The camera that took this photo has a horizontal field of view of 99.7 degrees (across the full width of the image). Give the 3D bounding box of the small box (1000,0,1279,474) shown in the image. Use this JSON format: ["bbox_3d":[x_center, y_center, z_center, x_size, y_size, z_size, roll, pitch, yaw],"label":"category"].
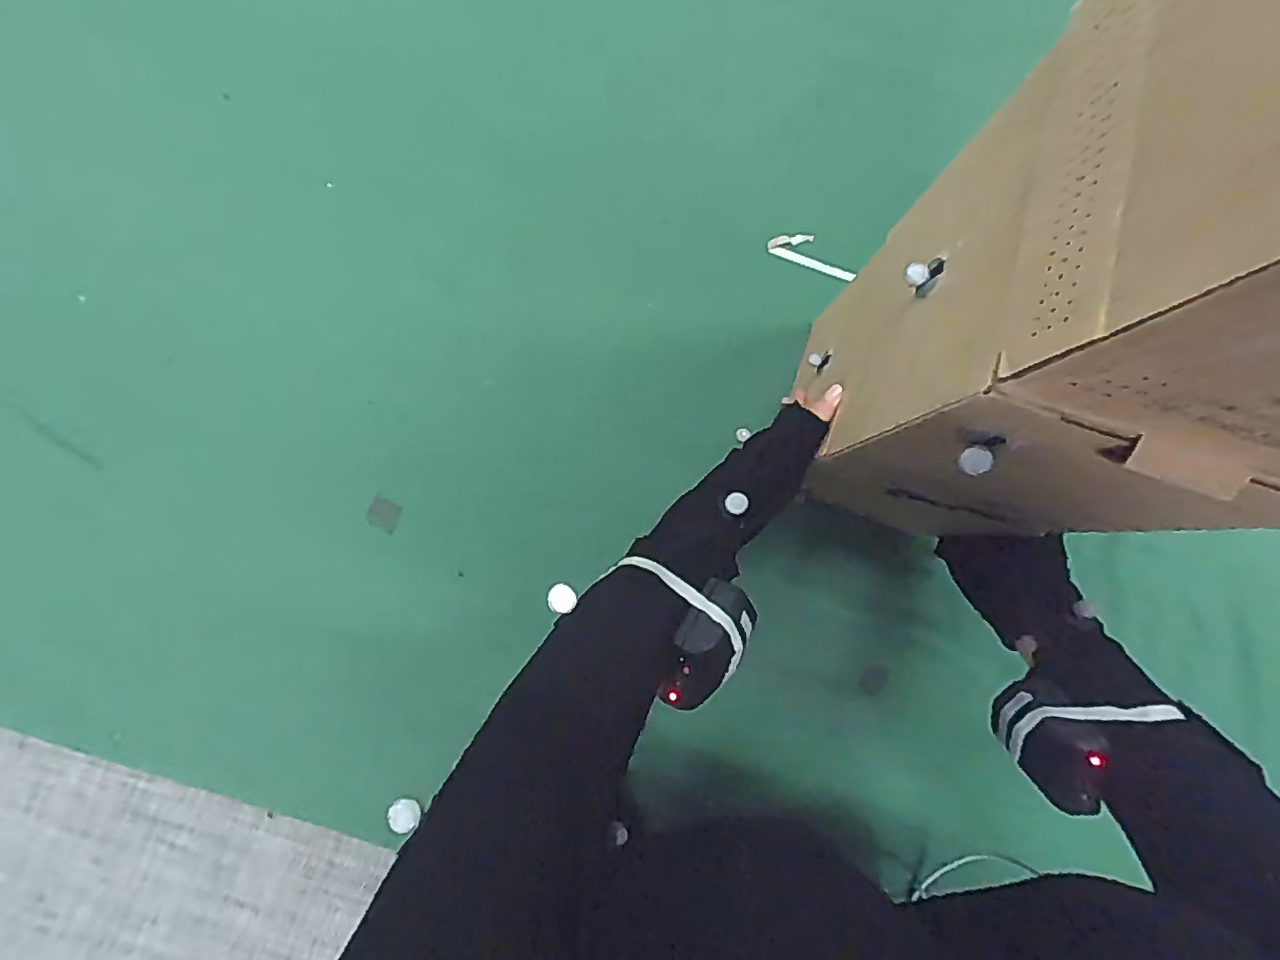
[{"bbox_3d":[0.235,-0.108,0.140,0.168,0.176,0.179,16,83,0],"label":"small box"}]

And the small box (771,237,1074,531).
[{"bbox_3d":[0.227,-0.063,0.465,0.168,0.176,0.179,19,83,0],"label":"small box"}]
